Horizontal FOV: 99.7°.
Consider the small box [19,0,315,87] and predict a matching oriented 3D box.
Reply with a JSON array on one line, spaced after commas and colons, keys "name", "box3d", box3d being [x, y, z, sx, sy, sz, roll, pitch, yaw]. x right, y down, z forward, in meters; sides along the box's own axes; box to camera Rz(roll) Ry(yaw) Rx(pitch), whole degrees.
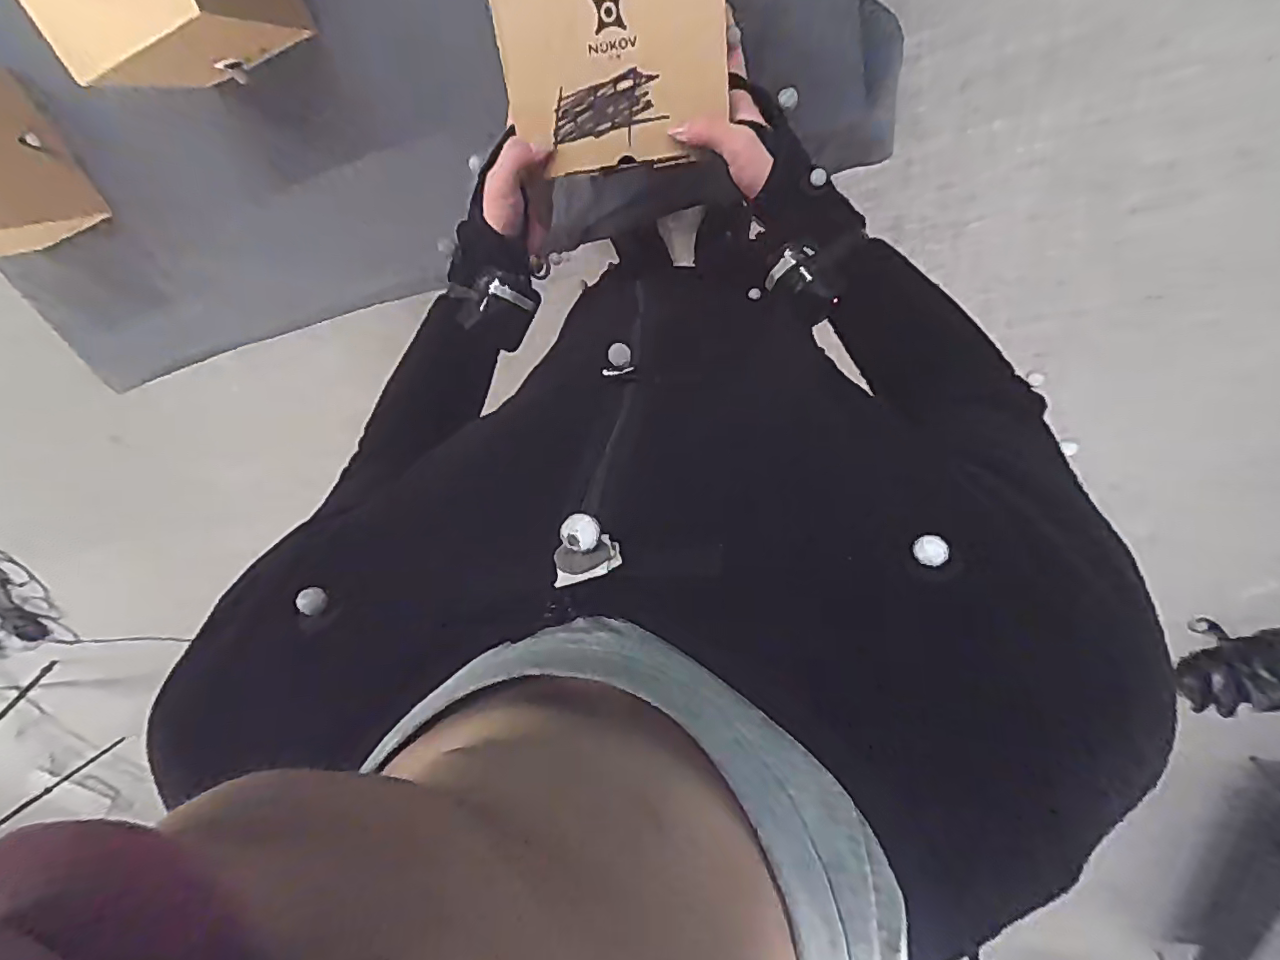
[{"name": "small box", "box3d": [-0.465, -0.500, 0.510, 0.168, 0.176, 0.179, -11, 124, 17]}]

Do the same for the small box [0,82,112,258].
[{"name": "small box", "box3d": [-0.825, -0.370, 0.651, 0.168, 0.176, 0.179, -11, 121, 16]}]

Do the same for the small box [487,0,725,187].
[{"name": "small box", "box3d": [-0.017, -0.358, 0.448, 0.168, 0.176, 0.179, -4, 122, 8]}]
